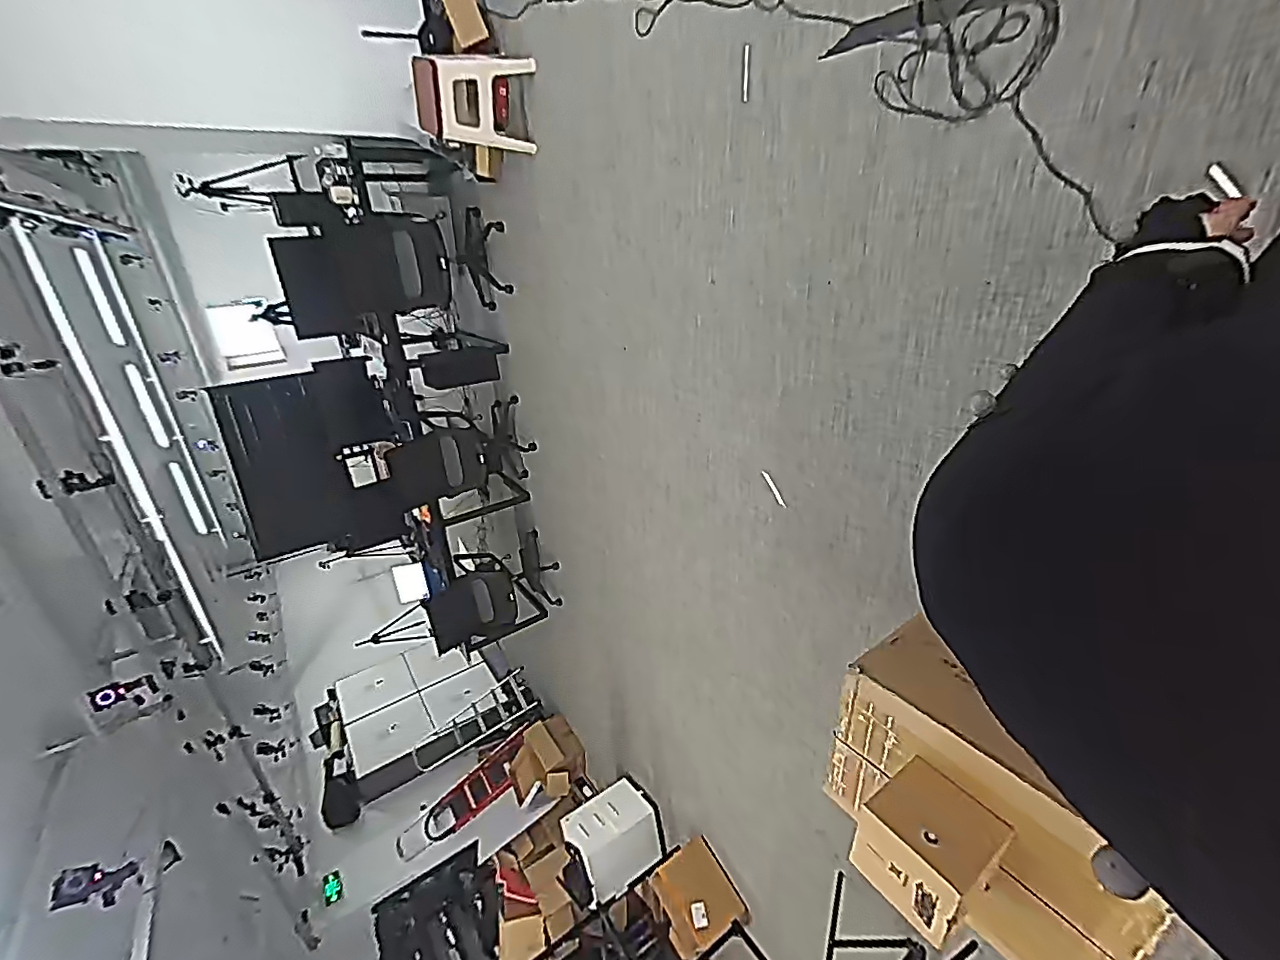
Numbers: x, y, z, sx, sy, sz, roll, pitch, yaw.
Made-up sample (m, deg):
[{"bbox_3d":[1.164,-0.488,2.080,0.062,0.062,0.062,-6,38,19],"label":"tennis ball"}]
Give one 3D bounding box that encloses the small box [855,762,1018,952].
[{"bbox_3d":[0.510,0.638,0.936,0.179,0.176,0.168,33,132,49],"label":"small box"}]
